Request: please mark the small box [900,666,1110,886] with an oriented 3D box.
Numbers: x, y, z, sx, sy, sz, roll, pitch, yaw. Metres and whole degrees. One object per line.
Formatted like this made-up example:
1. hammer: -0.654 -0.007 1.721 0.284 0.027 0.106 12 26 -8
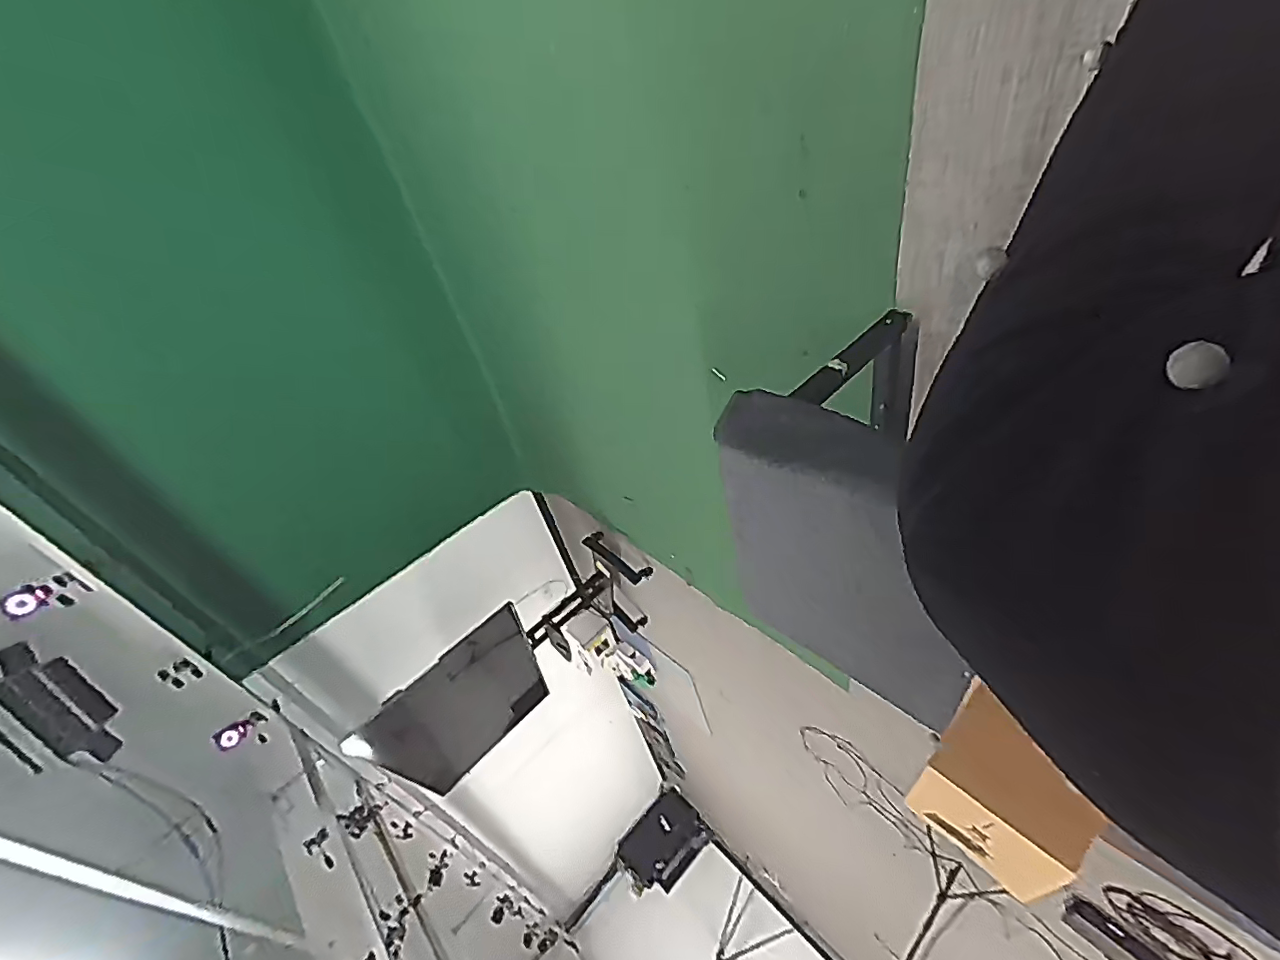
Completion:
1. small box: 0.480 0.391 0.726 0.168 0.176 0.179 32 152 39
